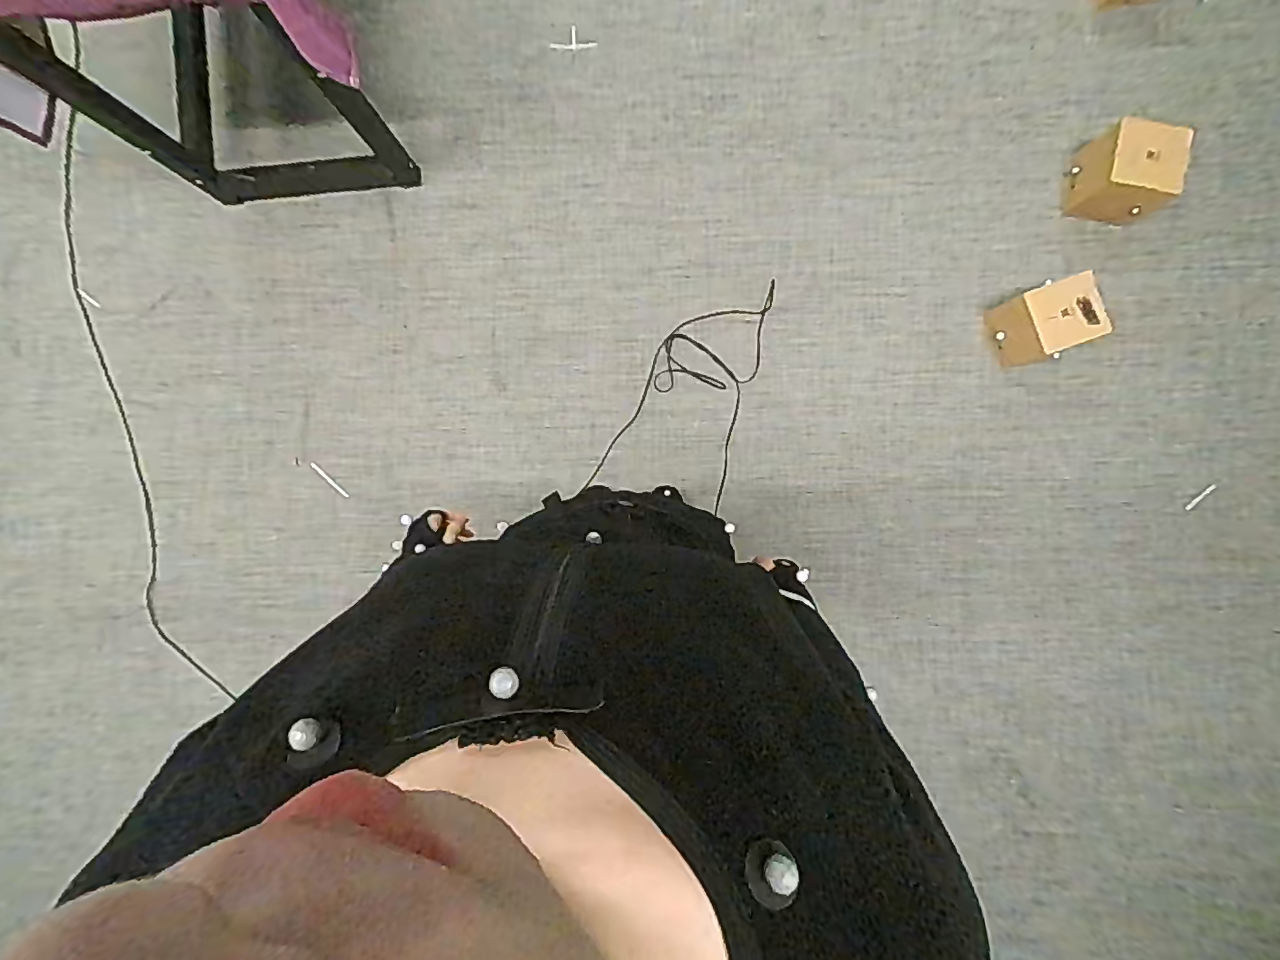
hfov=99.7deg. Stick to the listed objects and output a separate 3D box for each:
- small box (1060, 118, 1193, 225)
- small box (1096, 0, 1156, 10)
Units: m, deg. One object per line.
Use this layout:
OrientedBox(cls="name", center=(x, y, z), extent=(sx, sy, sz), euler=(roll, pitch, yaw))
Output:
OrientedBox(cls="small box", center=(1.254, -0.791, 1.405), extent=(0.179, 0.176, 0.168), euler=(12, 89, 2))
OrientedBox(cls="small box", center=(1.322, -1.386, 1.406), extent=(0.168, 0.176, 0.179), euler=(-8, 89, 2))
